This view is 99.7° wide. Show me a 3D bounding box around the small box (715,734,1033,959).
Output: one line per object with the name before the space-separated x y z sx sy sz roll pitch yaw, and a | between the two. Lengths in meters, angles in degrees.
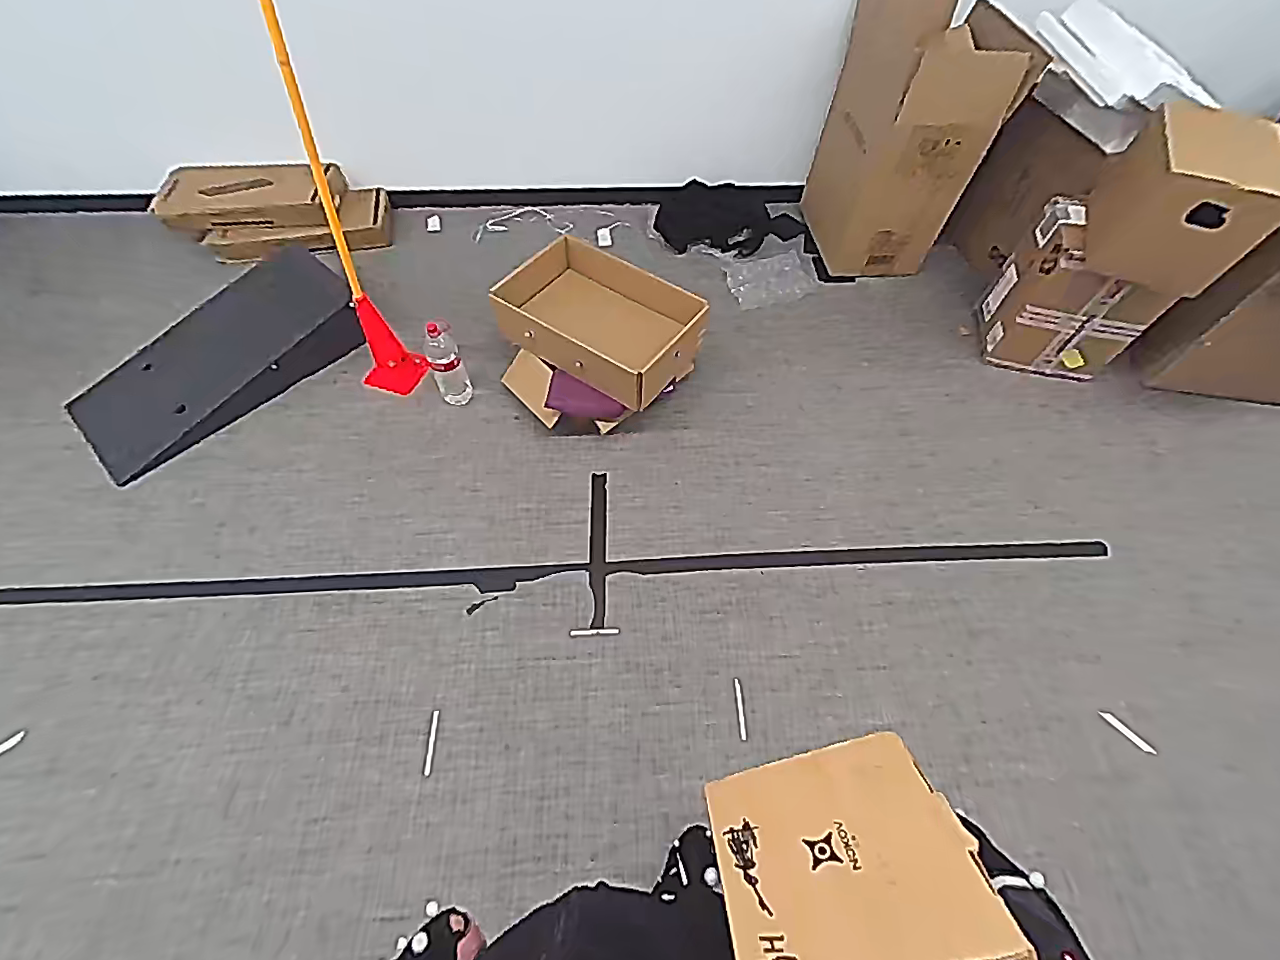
small box | 0.175 0.348 0.435 0.179 0.176 0.168 -17 19 4
